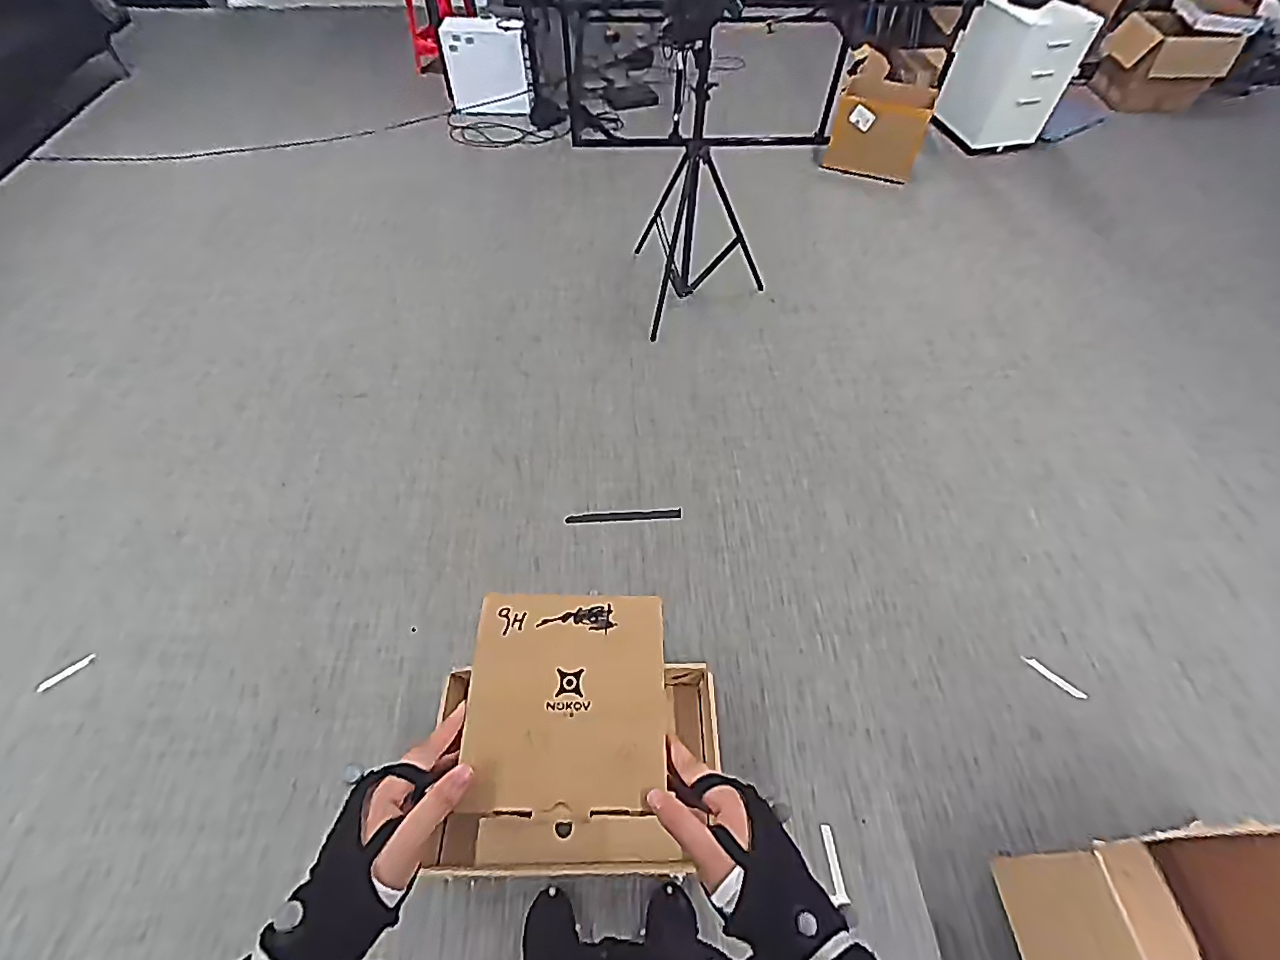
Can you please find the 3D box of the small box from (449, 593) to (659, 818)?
[{"bbox_3d":[-0.070,0.221,0.525,0.168,0.176,0.179,2,59,-4],"label":"small box"}]
